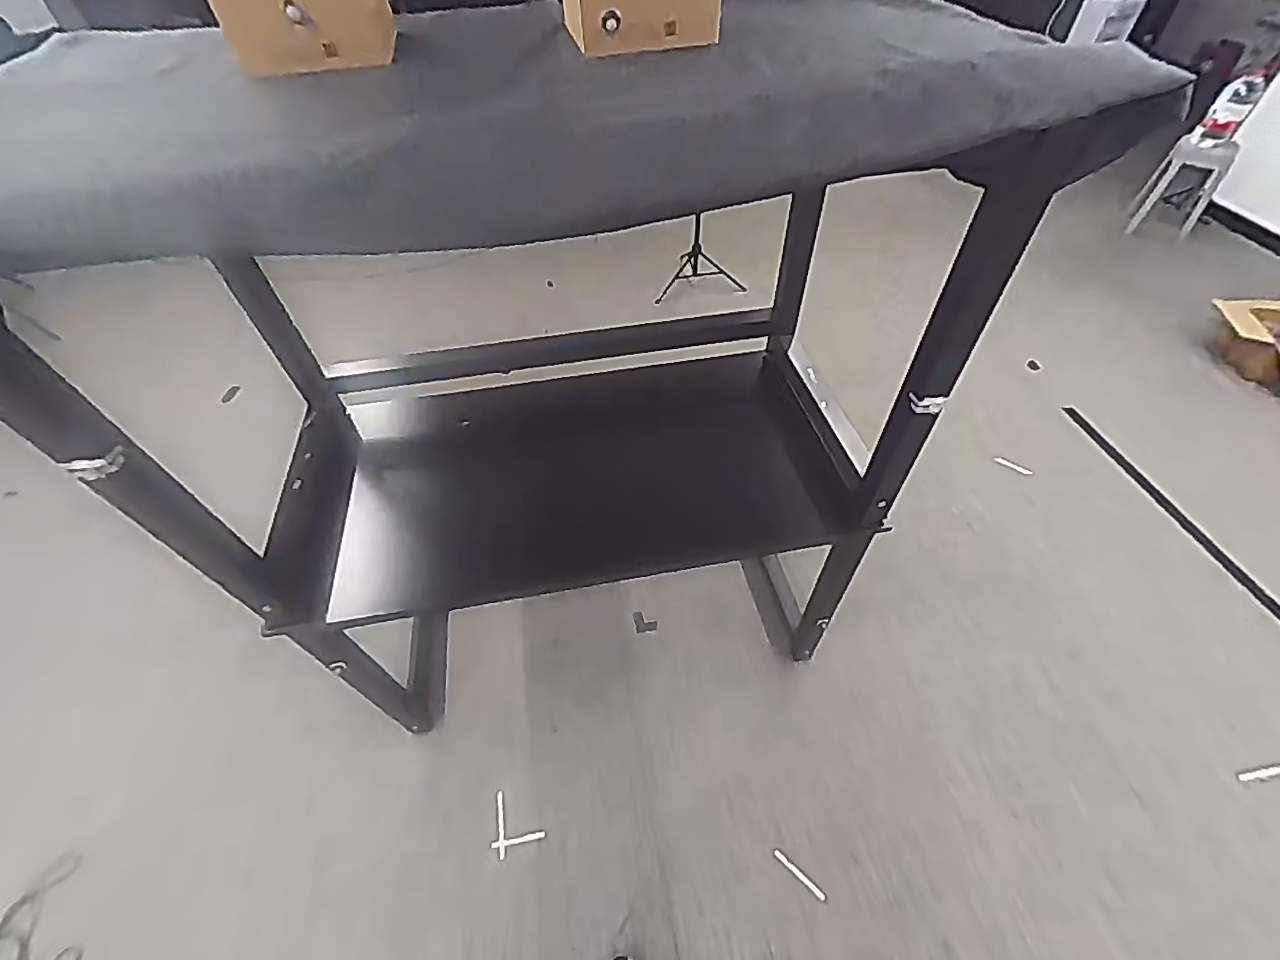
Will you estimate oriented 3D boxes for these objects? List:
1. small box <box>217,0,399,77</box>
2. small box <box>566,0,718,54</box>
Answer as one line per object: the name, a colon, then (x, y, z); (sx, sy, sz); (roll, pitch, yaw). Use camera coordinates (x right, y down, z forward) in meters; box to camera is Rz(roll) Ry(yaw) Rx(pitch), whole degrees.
small box: (-0.396, -0.594, 0.629); (0.168, 0.176, 0.179); (-12, 51, -7)
small box: (-0.005, -0.624, 0.638); (0.168, 0.176, 0.179); (-11, 50, -7)
